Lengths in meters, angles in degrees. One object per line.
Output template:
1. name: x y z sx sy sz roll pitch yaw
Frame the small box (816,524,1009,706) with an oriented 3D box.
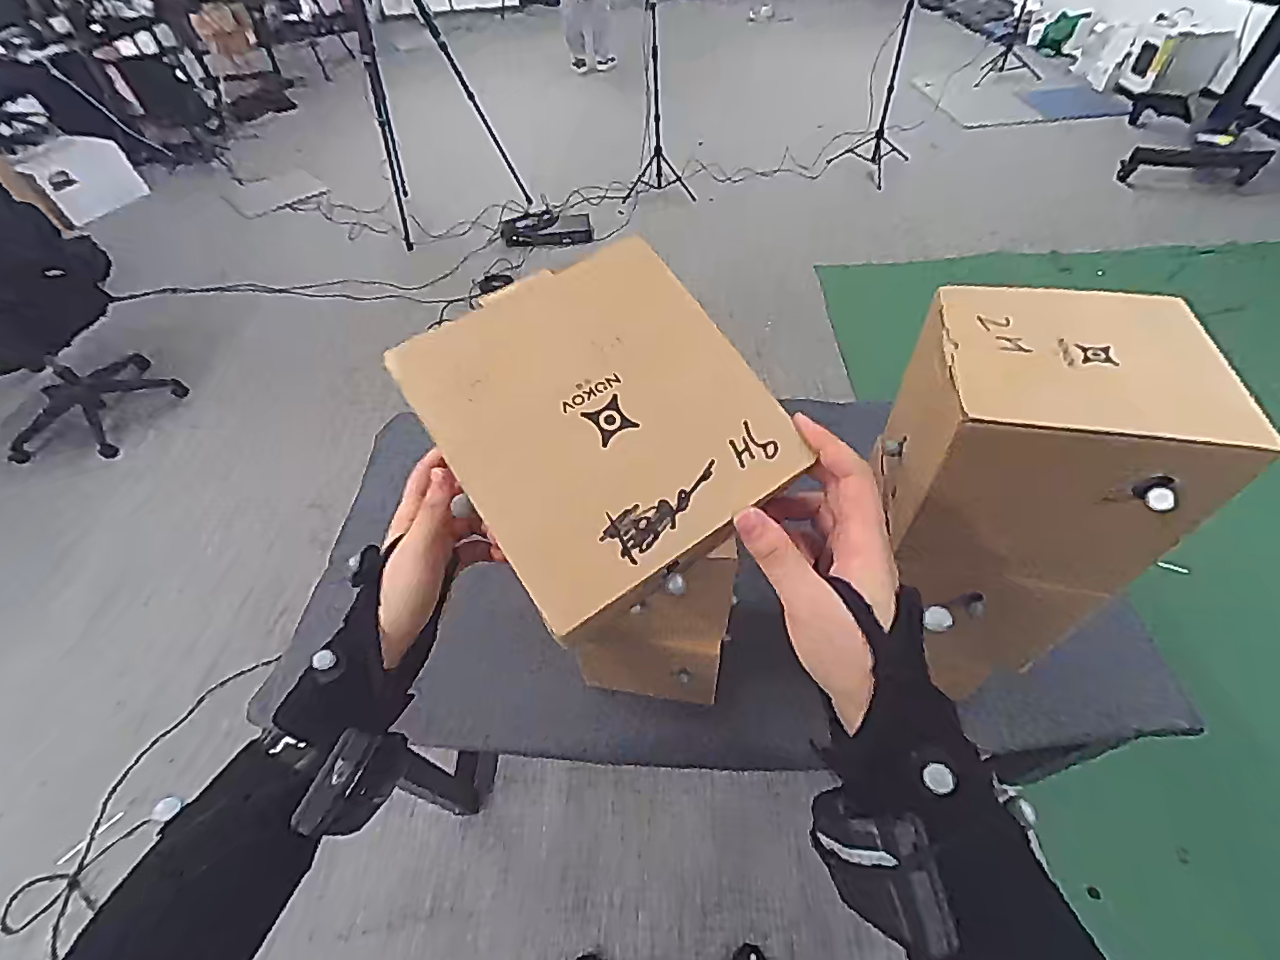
1. small box: 0.334 0.173 0.694 0.168 0.176 0.179 -2 50 4

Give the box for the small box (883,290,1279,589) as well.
1. small box: 0.313 -0.030 0.438 0.179 0.176 0.168 7 50 13

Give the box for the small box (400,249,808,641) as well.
1. small box: -0.028 -0.010 0.368 0.168 0.176 0.179 -30 74 -15

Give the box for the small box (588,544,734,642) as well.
1. small box: 0.004 0.067 0.596 0.179 0.176 0.168 -2 49 4

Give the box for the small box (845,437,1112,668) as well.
1. small box: 0.322 0.078 0.562 0.179 0.176 0.168 6 50 12
